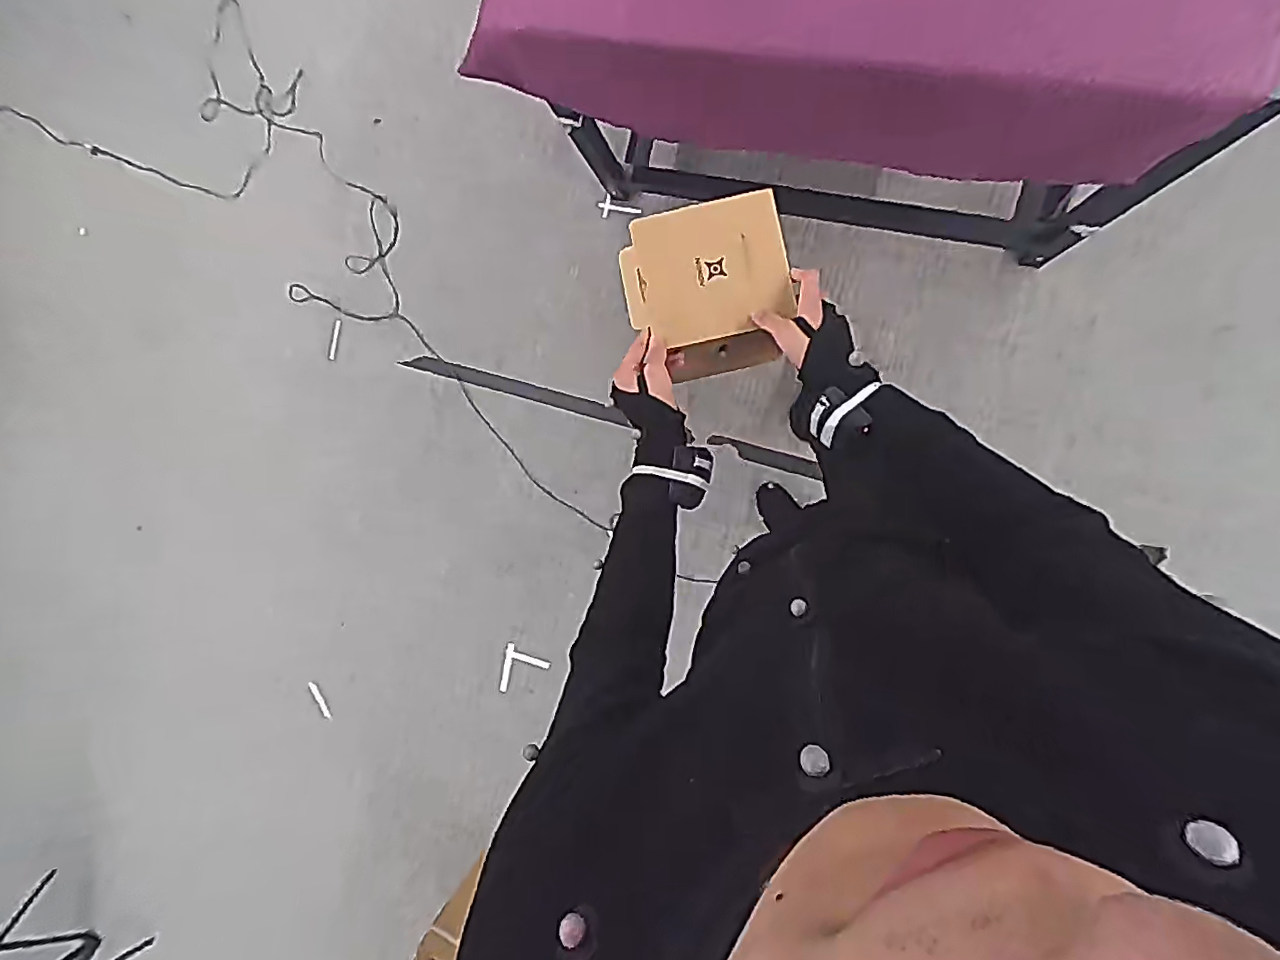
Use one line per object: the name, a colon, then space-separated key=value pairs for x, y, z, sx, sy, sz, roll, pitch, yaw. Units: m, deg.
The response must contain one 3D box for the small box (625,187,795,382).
small box: x=0.089 y=-0.241 z=0.711 sx=0.179 sy=0.176 sz=0.168 roll=-12 pitch=84 yaw=5
